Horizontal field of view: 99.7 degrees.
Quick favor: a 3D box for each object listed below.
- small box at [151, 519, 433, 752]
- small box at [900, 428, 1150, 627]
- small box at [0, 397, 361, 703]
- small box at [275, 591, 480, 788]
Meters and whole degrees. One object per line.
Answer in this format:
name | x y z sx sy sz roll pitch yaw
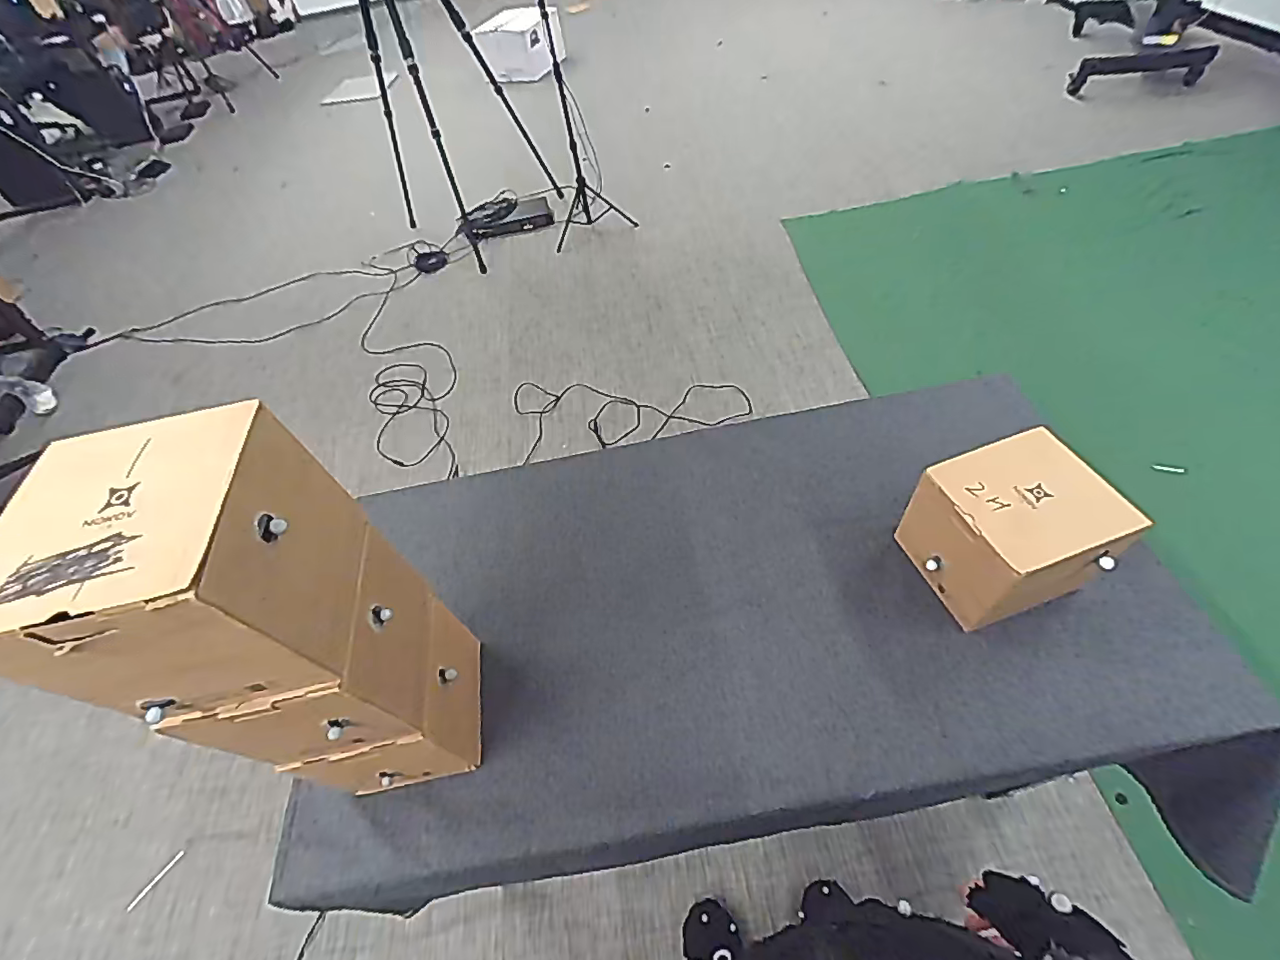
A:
small box | -0.332 0.169 0.563 0.168 0.176 0.179 -11 52 -1
small box | 0.477 0.066 0.707 0.179 0.176 0.168 -19 52 -4
small box | -0.353 0.065 0.437 0.168 0.176 0.179 -12 52 -2
small box | -0.313 0.270 0.689 0.168 0.176 0.179 -12 53 0
